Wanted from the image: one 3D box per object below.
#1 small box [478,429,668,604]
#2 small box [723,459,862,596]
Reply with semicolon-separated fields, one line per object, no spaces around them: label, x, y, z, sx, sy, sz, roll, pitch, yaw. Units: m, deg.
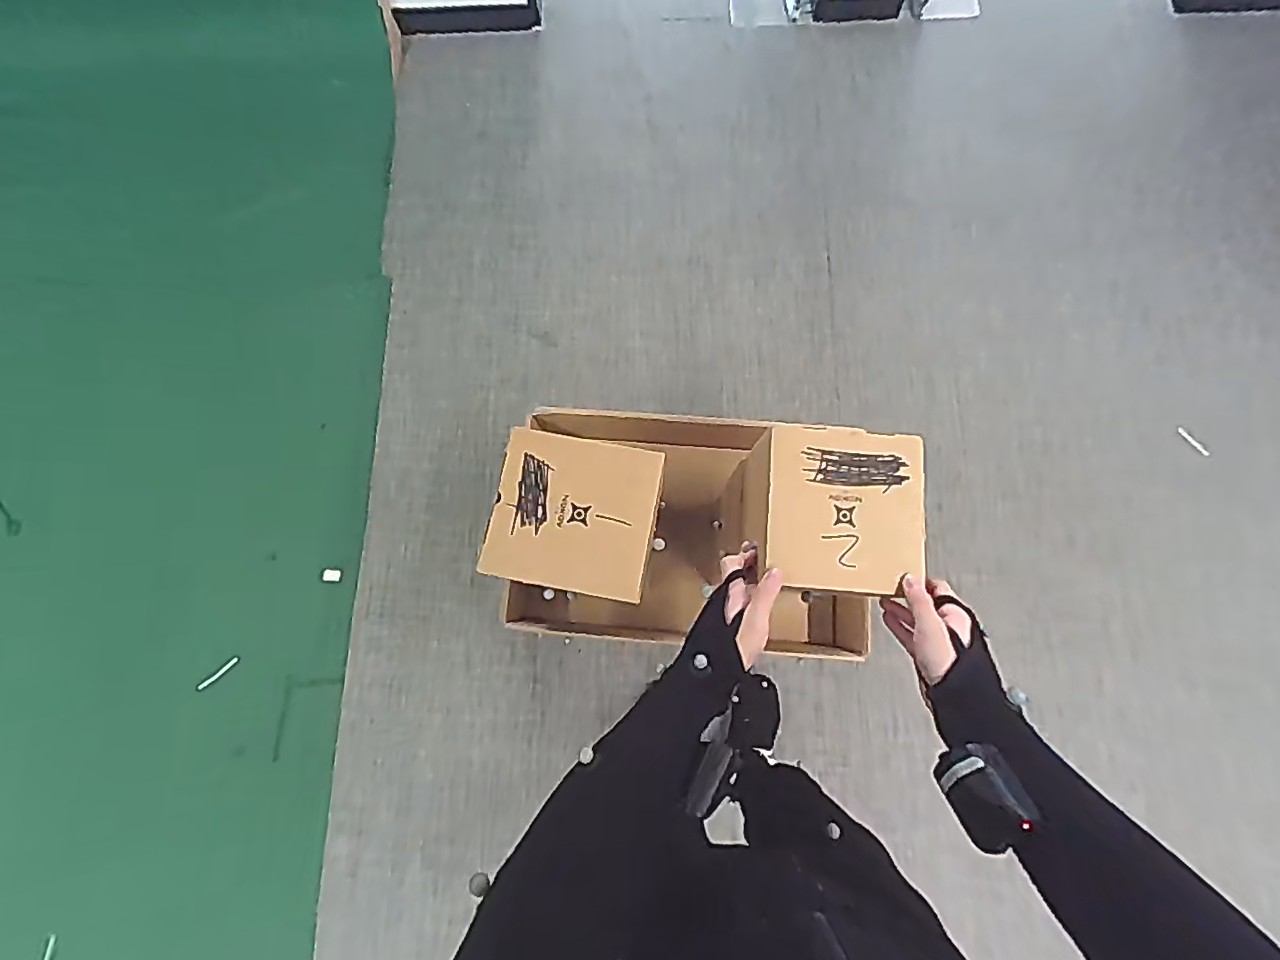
small box;-0.069;0.053;0.656;0.179;0.176;0.168;11;79;3
small box;0.218;0.078;0.809;0.168;0.176;0.179;5;78;2
